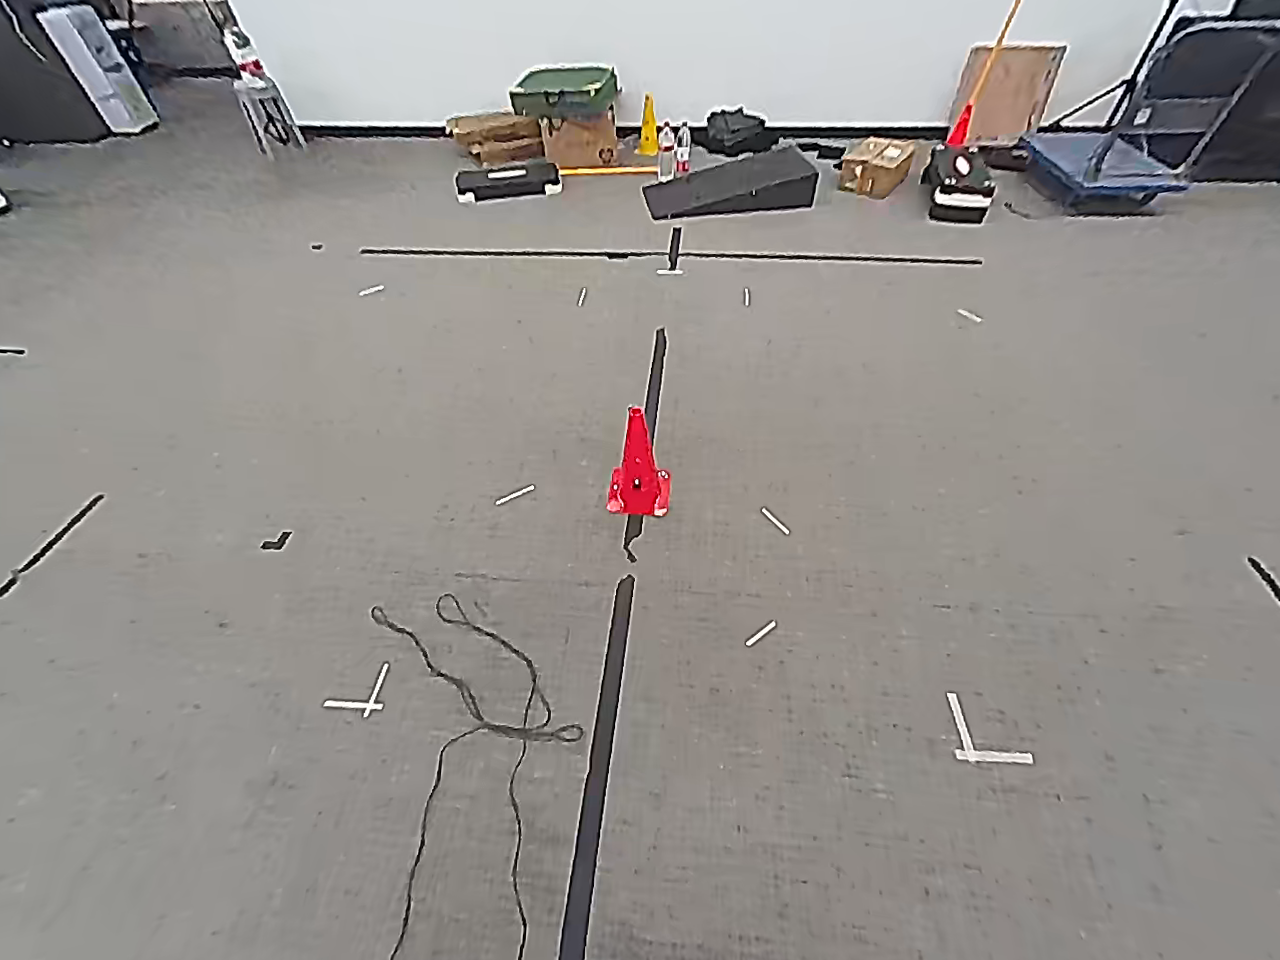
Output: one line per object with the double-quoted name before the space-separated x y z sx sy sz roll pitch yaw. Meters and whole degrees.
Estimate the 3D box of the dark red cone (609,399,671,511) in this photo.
"dark red cone" -0.005 -0.090 1.664 0.201 0.394 0.202 2 49 5
